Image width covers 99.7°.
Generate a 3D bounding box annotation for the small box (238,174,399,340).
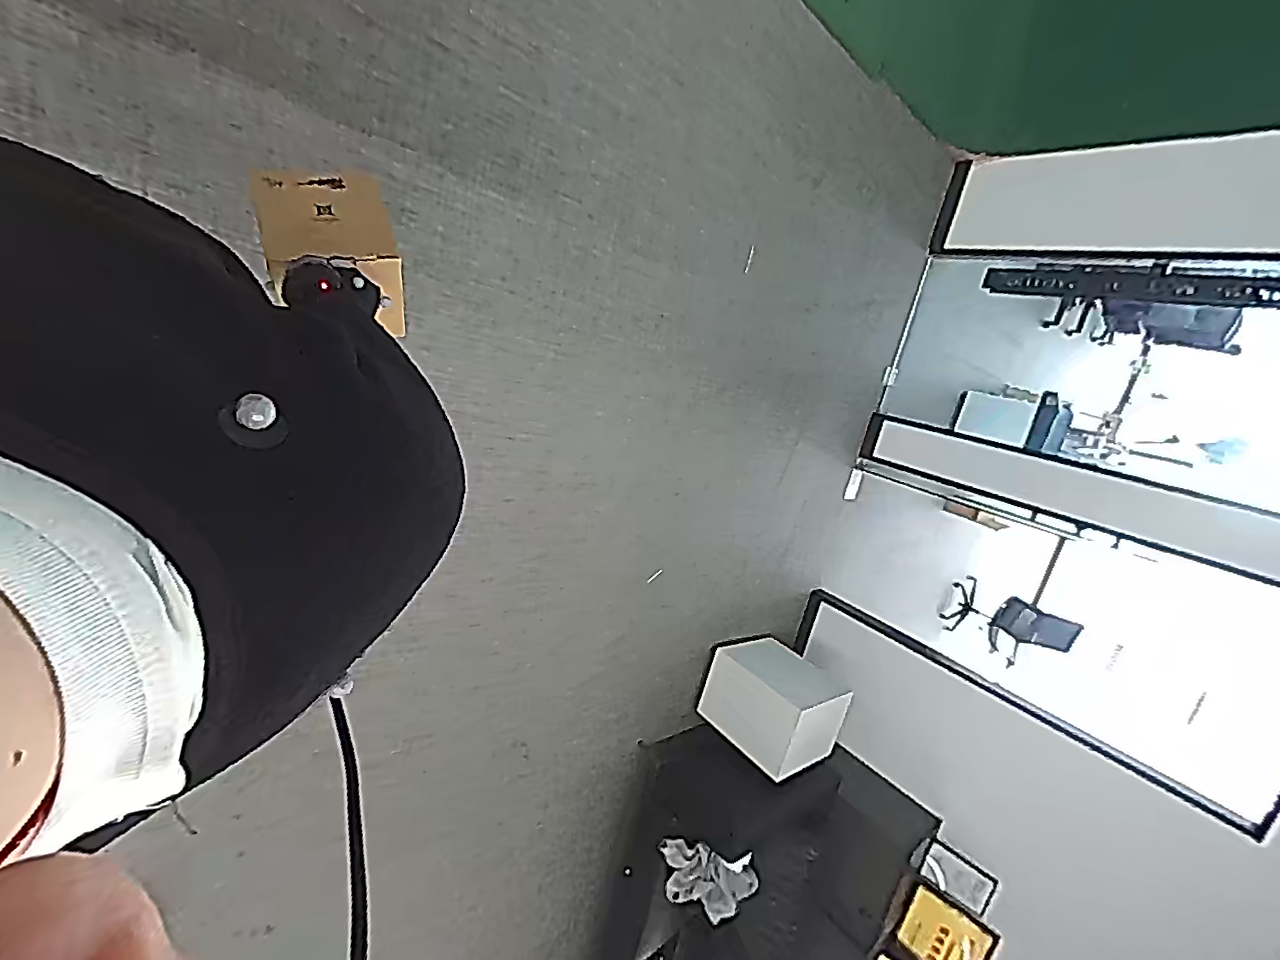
[{"bbox_3d":[-0.480,-0.333,0.829,0.168,0.179,0.176,-17,161,-27],"label":"small box"}]
